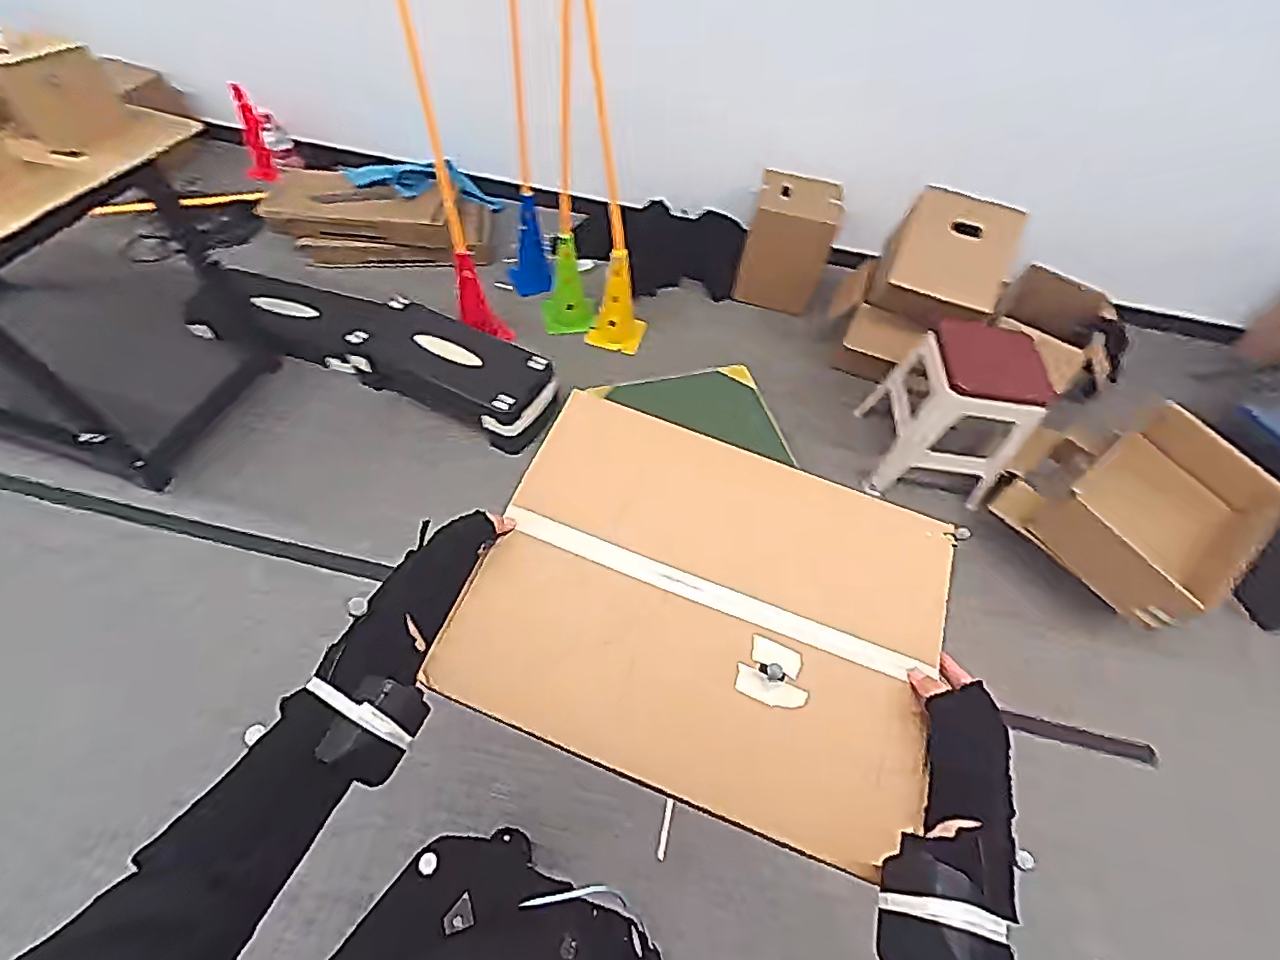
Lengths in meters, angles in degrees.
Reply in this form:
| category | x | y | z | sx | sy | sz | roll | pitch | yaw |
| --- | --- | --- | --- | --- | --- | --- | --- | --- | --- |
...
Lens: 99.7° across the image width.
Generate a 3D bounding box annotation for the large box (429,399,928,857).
| category | x | y | z | sx | sy | sz | roll | pitch | yaw |
| --- | --- | --- | --- | --- | --- | --- | --- | --- | --- |
| large box | 0.044 | 0.168 | 0.627 | 0.408 | 0.320 | 0.320 | 20 | 64 | 4 |
